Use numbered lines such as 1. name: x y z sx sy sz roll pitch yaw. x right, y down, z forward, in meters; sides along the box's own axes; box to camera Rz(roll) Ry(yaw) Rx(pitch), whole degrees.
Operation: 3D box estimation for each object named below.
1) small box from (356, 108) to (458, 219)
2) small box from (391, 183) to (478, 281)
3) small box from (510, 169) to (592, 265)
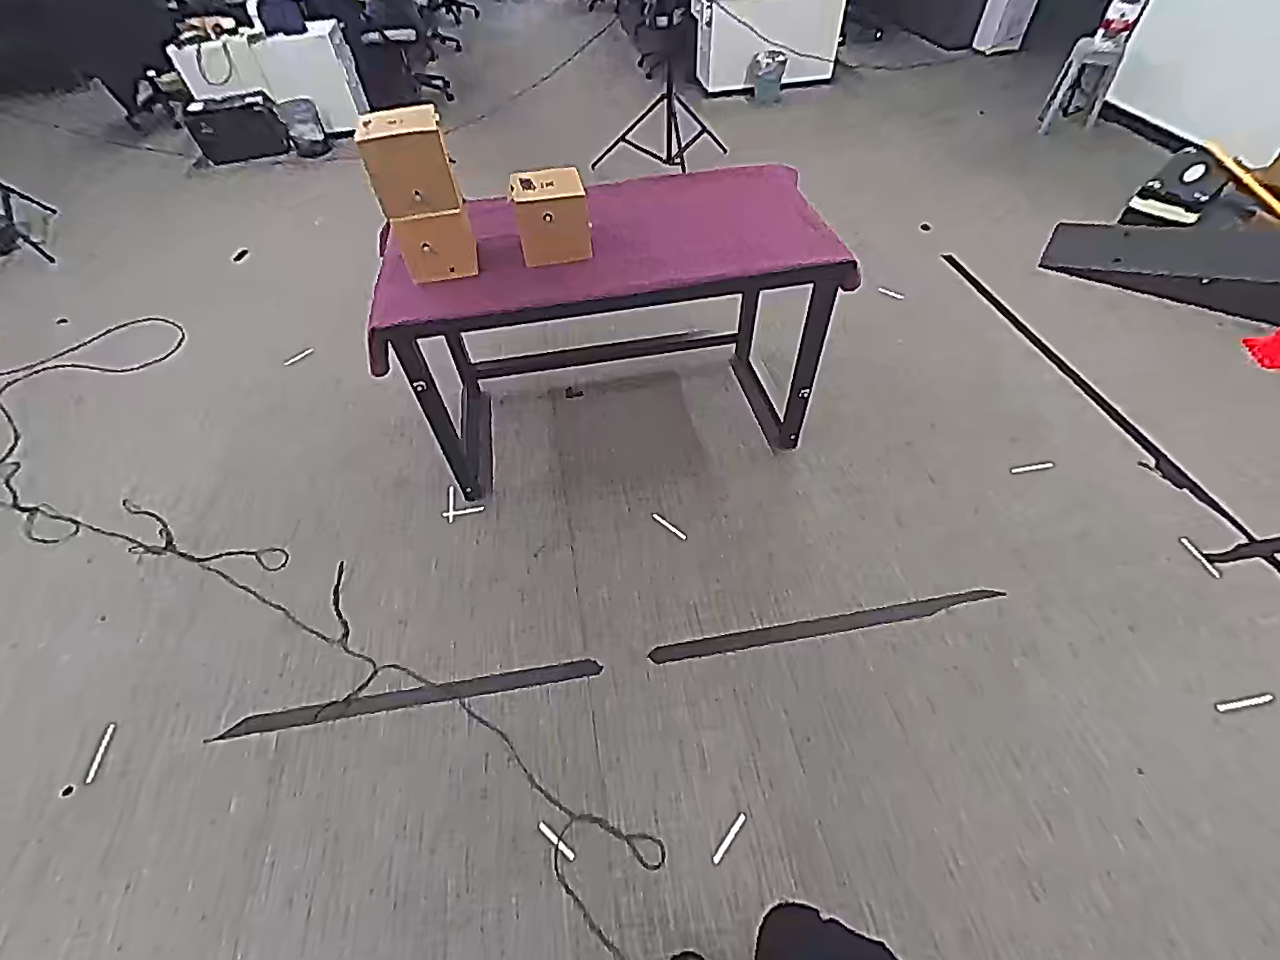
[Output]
1. small box: -0.532 -0.734 1.258 0.179 0.176 0.168 -13 51 -8
2. small box: -0.518 -0.627 1.382 0.168 0.176 0.179 -12 51 -7
3. small box: -0.229 -0.680 1.408 0.179 0.176 0.168 -11 52 -7
